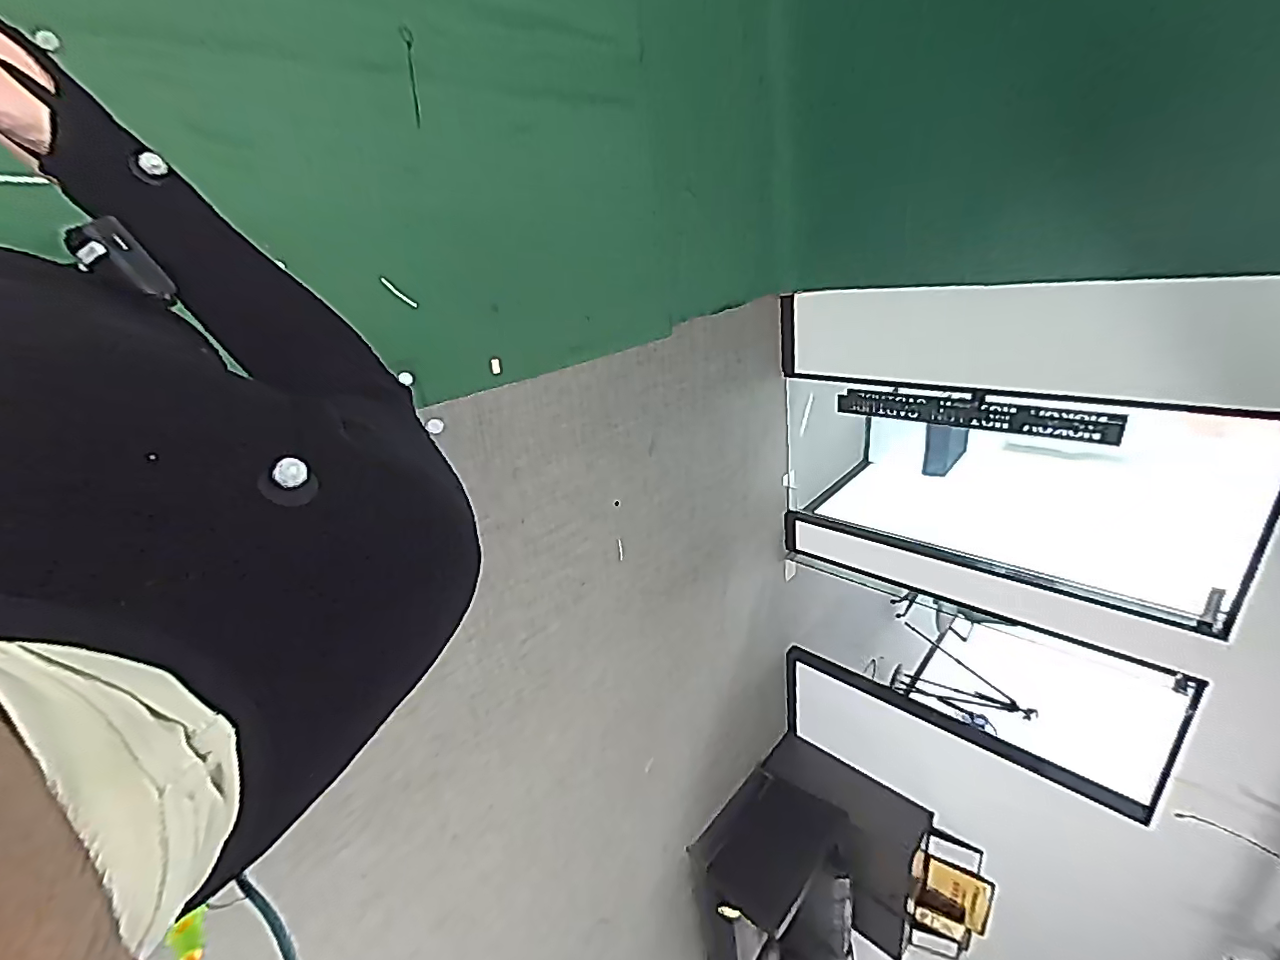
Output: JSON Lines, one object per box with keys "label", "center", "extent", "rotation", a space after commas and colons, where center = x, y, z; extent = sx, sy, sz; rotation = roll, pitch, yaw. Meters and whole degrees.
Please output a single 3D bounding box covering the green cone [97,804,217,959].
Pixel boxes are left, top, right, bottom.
{"label": "green cone", "center": [-1.160, 1.027, 1.327], "extent": [0.202, 0.368, 0.200], "rotation": [-26, 120, -38]}
